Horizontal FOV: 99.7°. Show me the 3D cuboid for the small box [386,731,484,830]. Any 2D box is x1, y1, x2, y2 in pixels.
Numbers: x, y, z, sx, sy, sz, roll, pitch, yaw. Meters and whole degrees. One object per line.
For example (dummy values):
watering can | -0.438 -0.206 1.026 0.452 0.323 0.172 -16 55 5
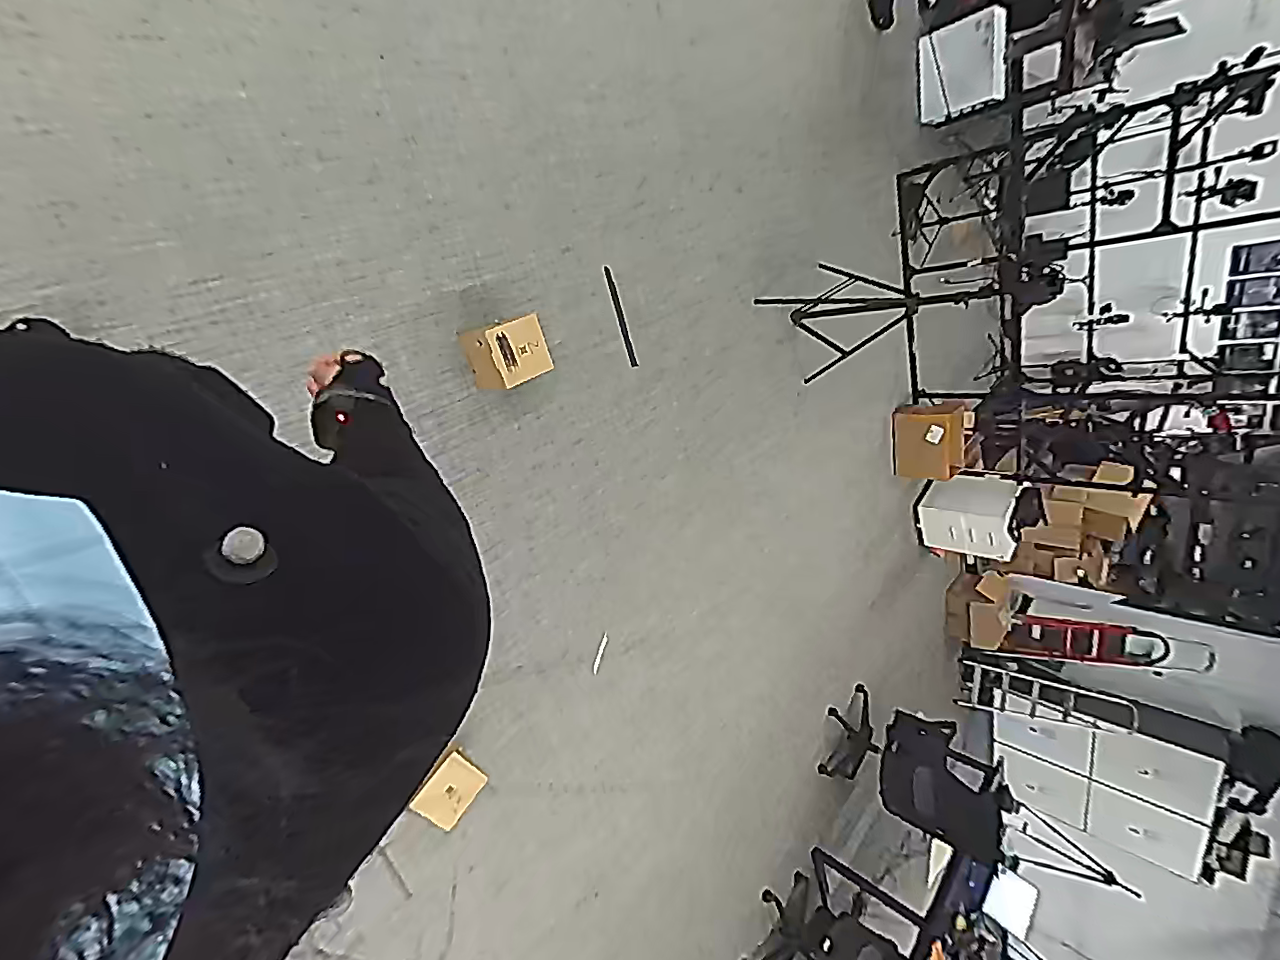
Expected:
small box | -0.596 0.860 1.566 0.168 0.176 0.179 -49 127 -27
